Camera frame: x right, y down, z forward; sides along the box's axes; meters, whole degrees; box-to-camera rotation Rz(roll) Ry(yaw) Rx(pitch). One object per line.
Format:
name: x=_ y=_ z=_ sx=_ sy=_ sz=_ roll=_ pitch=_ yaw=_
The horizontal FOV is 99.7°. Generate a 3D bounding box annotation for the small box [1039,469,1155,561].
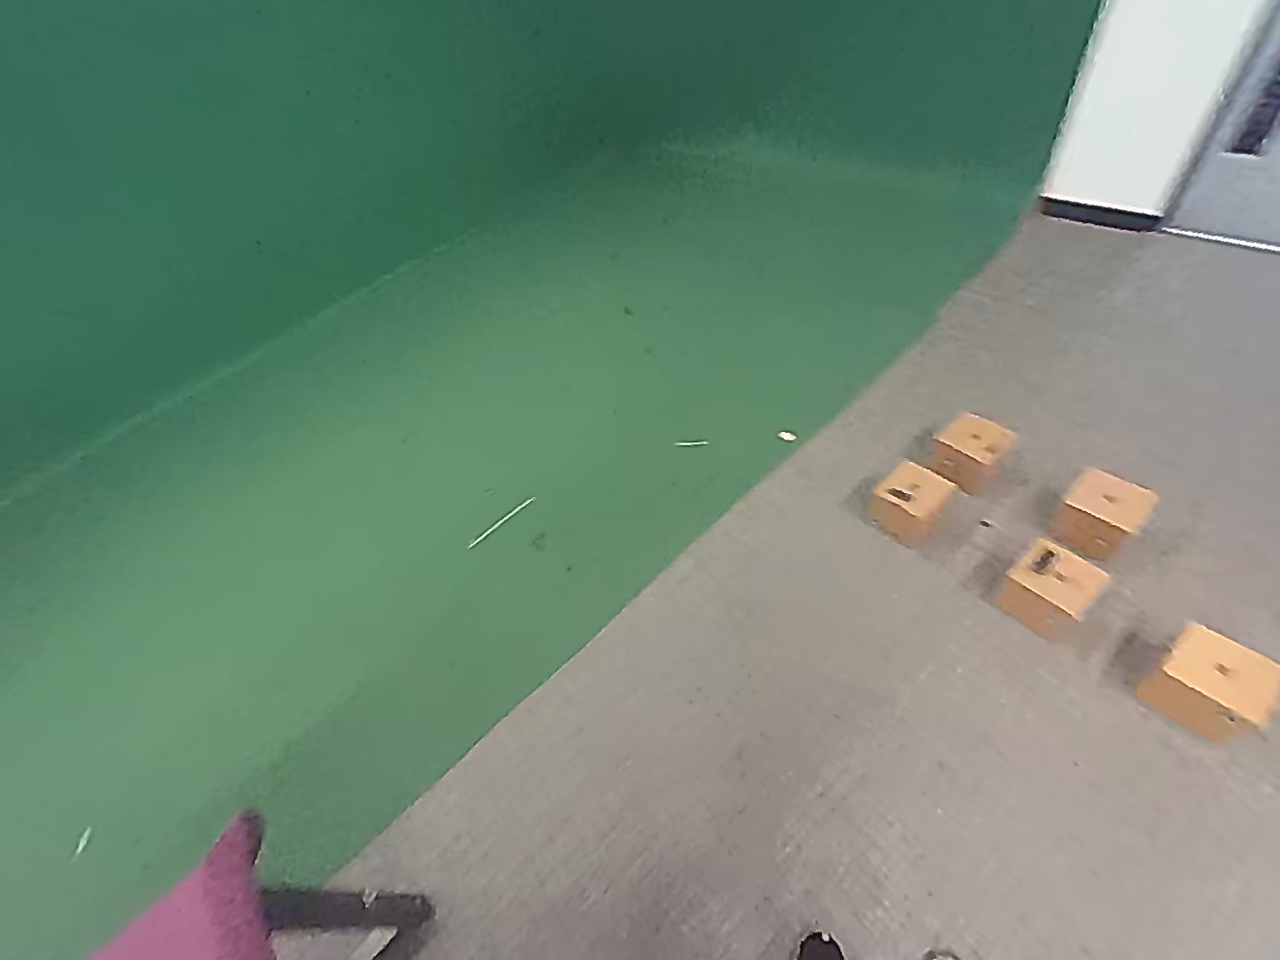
small box: x=1.311 y=0.109 z=1.563 sx=0.168 sy=0.176 sz=0.179 roll=-39 pitch=52 yaw=-18

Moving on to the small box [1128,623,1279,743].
small box: x=1.306 y=0.478 z=1.264 sx=0.168 sy=0.176 sz=0.179 roll=-41 pitch=54 yaw=-18

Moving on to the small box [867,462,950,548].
small box: x=0.842 y=0.082 z=1.713 sx=0.179 sy=0.176 sz=0.168 roll=-38 pitch=52 yaw=-17

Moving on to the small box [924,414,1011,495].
small box: x=1.071 y=-0.081 z=1.784 sx=0.168 sy=0.176 sz=0.179 roll=-37 pitch=51 yaw=-15
